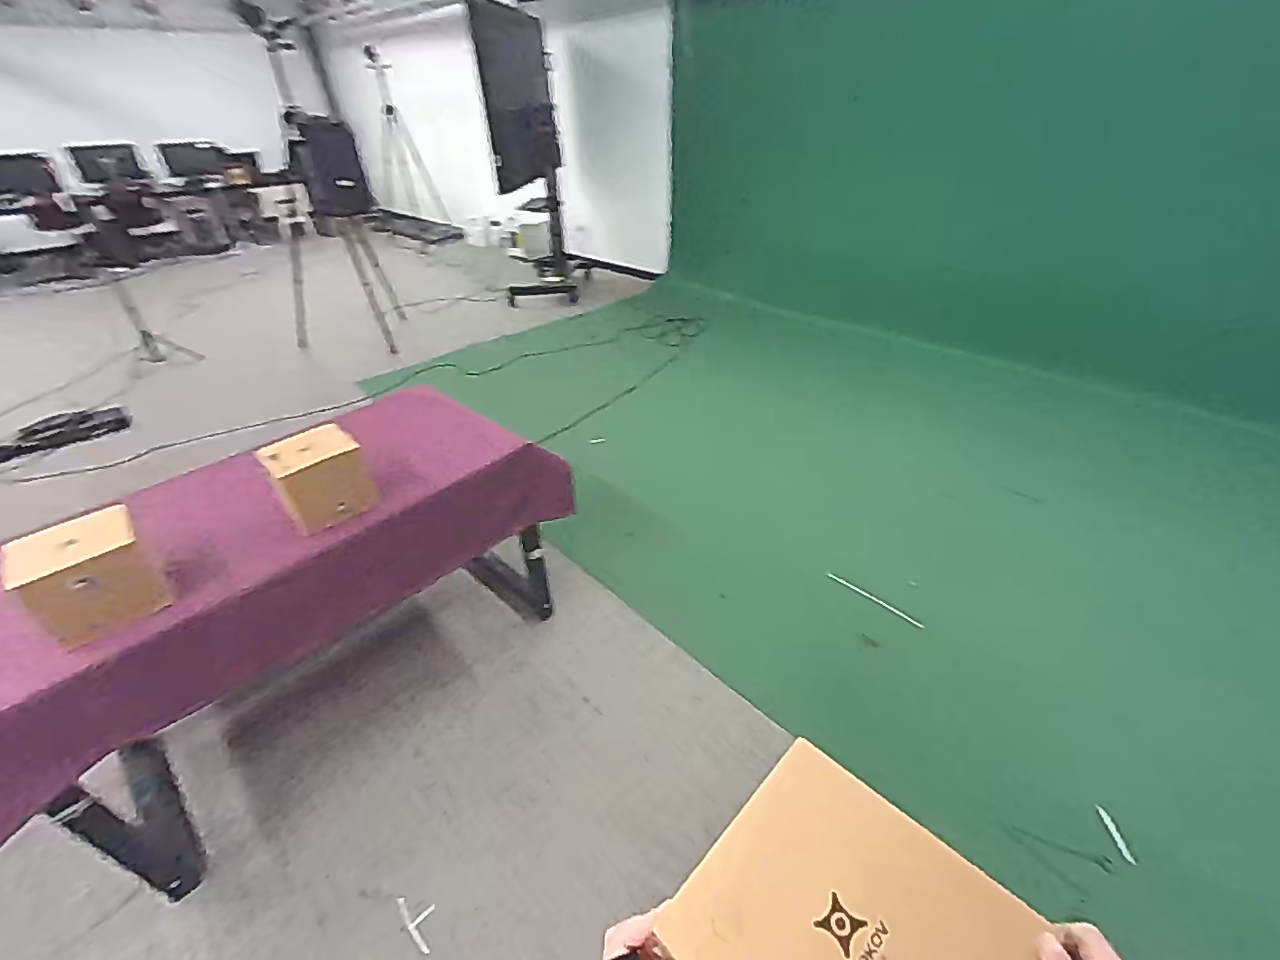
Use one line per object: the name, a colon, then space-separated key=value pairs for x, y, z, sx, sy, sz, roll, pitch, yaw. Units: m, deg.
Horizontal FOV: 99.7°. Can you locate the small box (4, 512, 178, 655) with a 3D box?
small box: x=-1.040 y=0.197 z=1.033 sx=0.179 sy=0.176 sz=0.168 roll=-30 pitch=44 yaw=-34

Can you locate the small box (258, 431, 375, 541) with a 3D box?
small box: x=-0.755 y=0.011 z=1.281 sx=0.168 sy=0.176 sz=0.179 roll=28 pitch=45 yaw=36
